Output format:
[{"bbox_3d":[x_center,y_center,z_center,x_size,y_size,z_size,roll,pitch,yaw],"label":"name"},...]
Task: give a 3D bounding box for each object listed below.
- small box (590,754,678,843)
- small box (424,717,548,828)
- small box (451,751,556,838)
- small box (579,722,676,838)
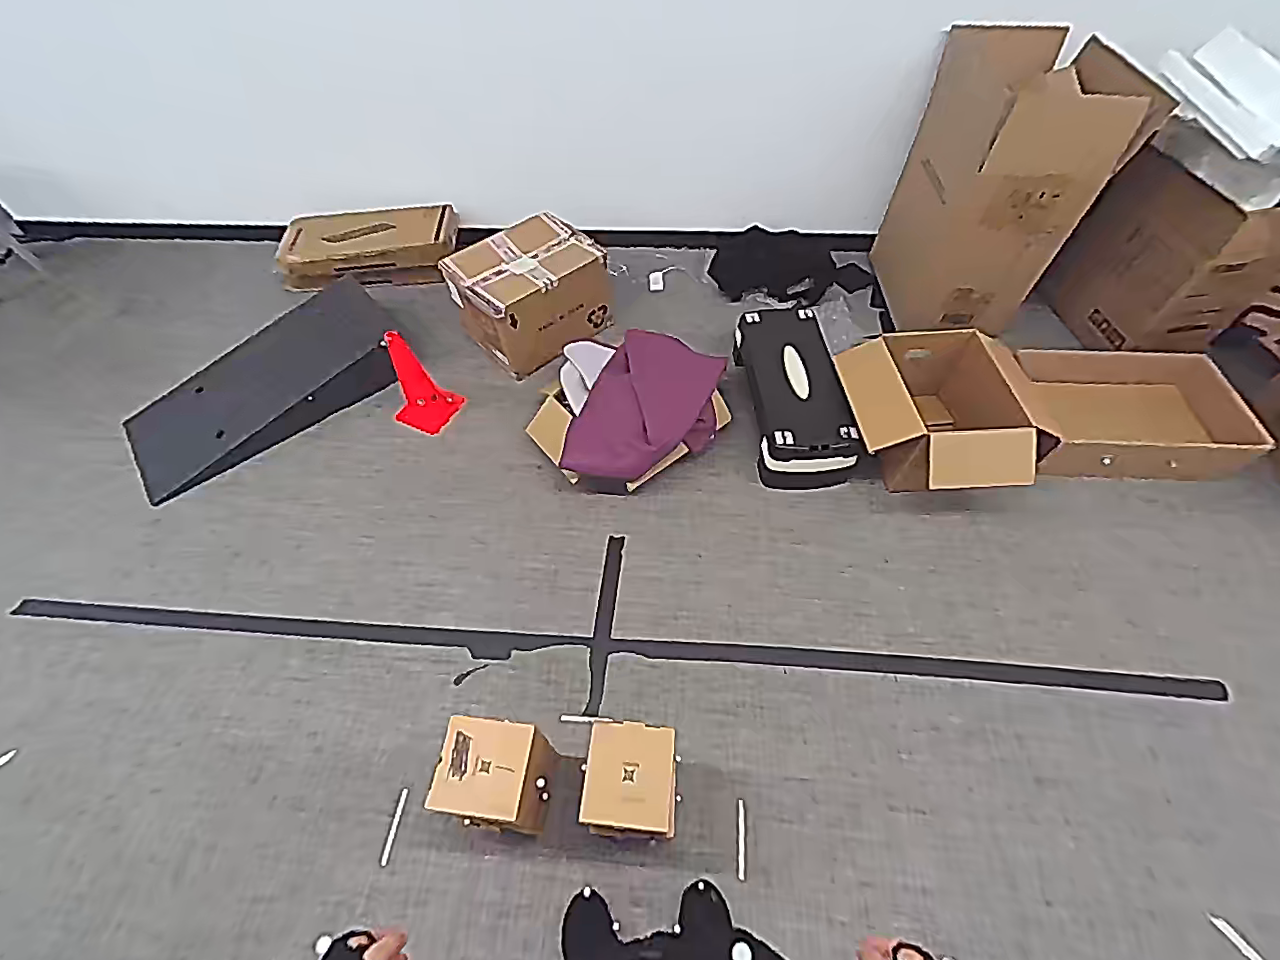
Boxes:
[{"bbox_3d":[-0.009,0.701,1.201,0.179,0.176,0.168,2,55,4],"label":"small box"},{"bbox_3d":[-0.298,0.591,1.086,0.179,0.176,0.168,5,55,5],"label":"small box"},{"bbox_3d":[-0.295,0.692,1.217,0.168,0.176,0.179,5,56,7],"label":"small box"},{"bbox_3d":[-0.017,0.598,1.074,0.168,0.176,0.179,3,56,5],"label":"small box"}]
